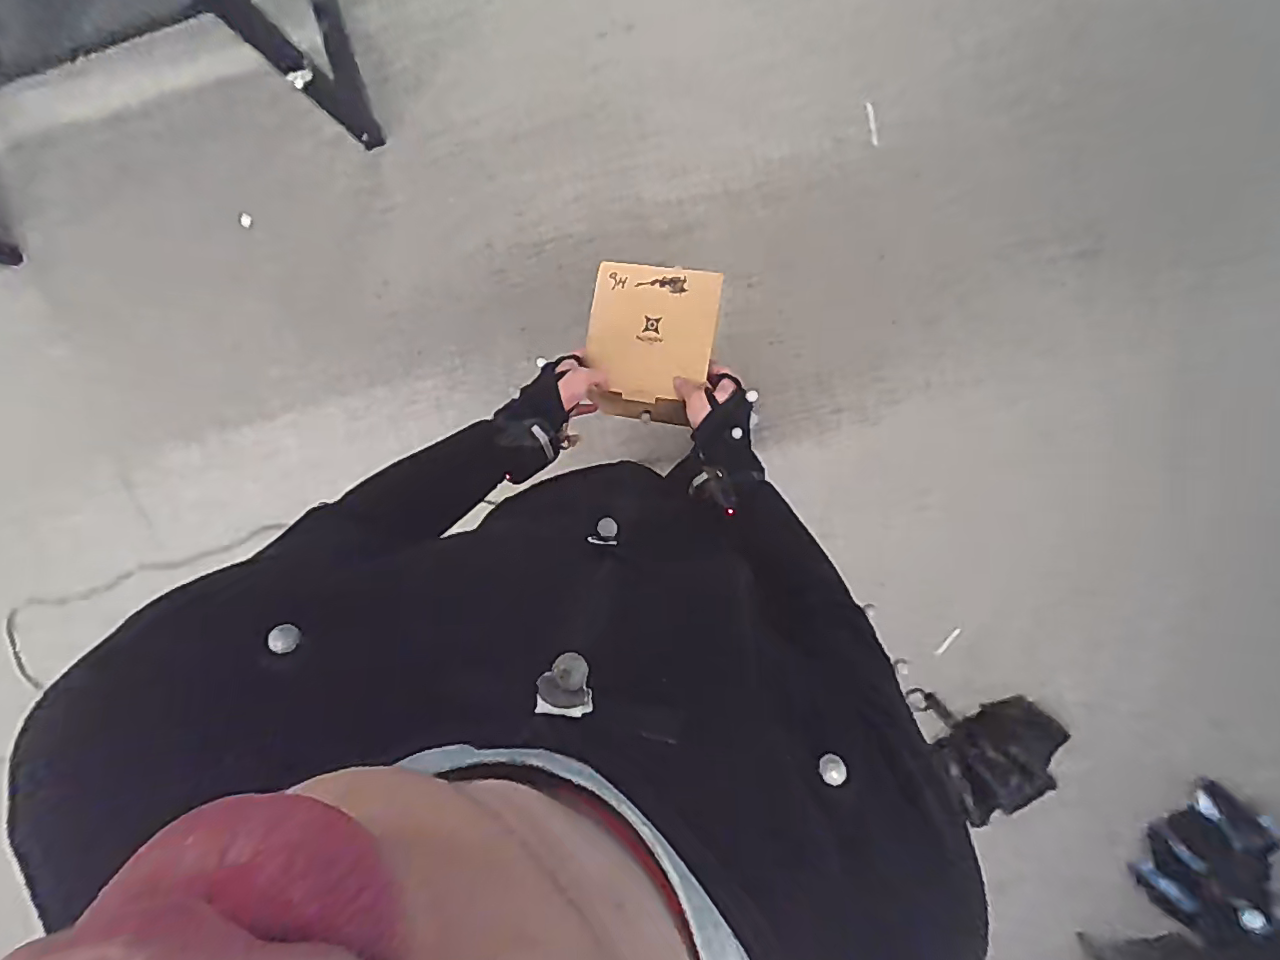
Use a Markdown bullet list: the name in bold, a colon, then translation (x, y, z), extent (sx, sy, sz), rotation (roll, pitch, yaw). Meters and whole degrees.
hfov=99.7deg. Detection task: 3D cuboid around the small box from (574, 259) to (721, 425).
- **small box**: translation (0.020, -0.181, 0.759), extent (0.168, 0.176, 0.179), rotation (9, 87, 8)
